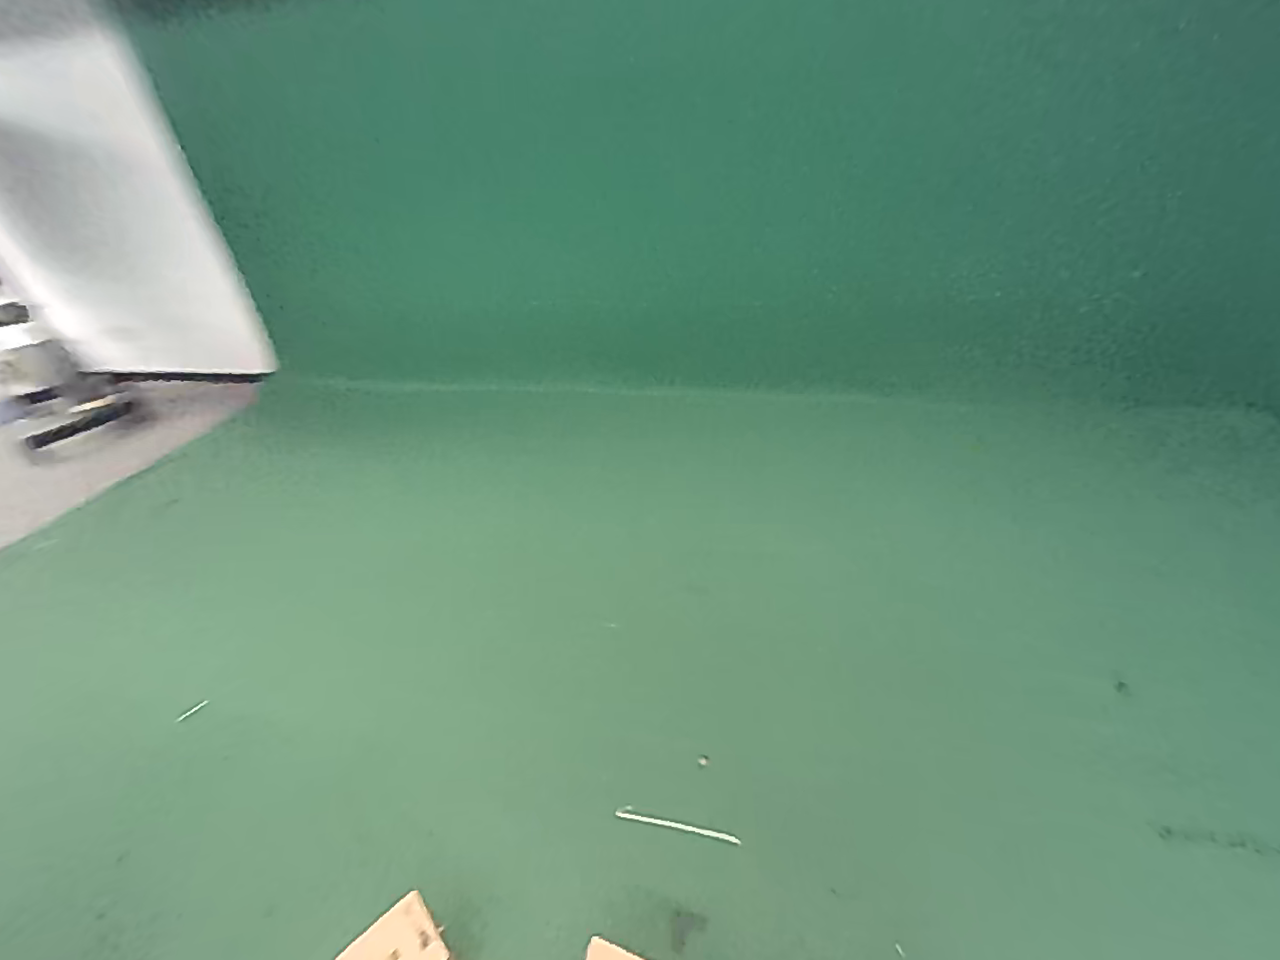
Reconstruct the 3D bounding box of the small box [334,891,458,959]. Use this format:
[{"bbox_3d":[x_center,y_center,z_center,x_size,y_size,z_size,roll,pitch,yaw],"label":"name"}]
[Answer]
[{"bbox_3d":[-0.488,1.015,1.111,0.179,0.176,0.168,-30,42,-31],"label":"small box"}]
